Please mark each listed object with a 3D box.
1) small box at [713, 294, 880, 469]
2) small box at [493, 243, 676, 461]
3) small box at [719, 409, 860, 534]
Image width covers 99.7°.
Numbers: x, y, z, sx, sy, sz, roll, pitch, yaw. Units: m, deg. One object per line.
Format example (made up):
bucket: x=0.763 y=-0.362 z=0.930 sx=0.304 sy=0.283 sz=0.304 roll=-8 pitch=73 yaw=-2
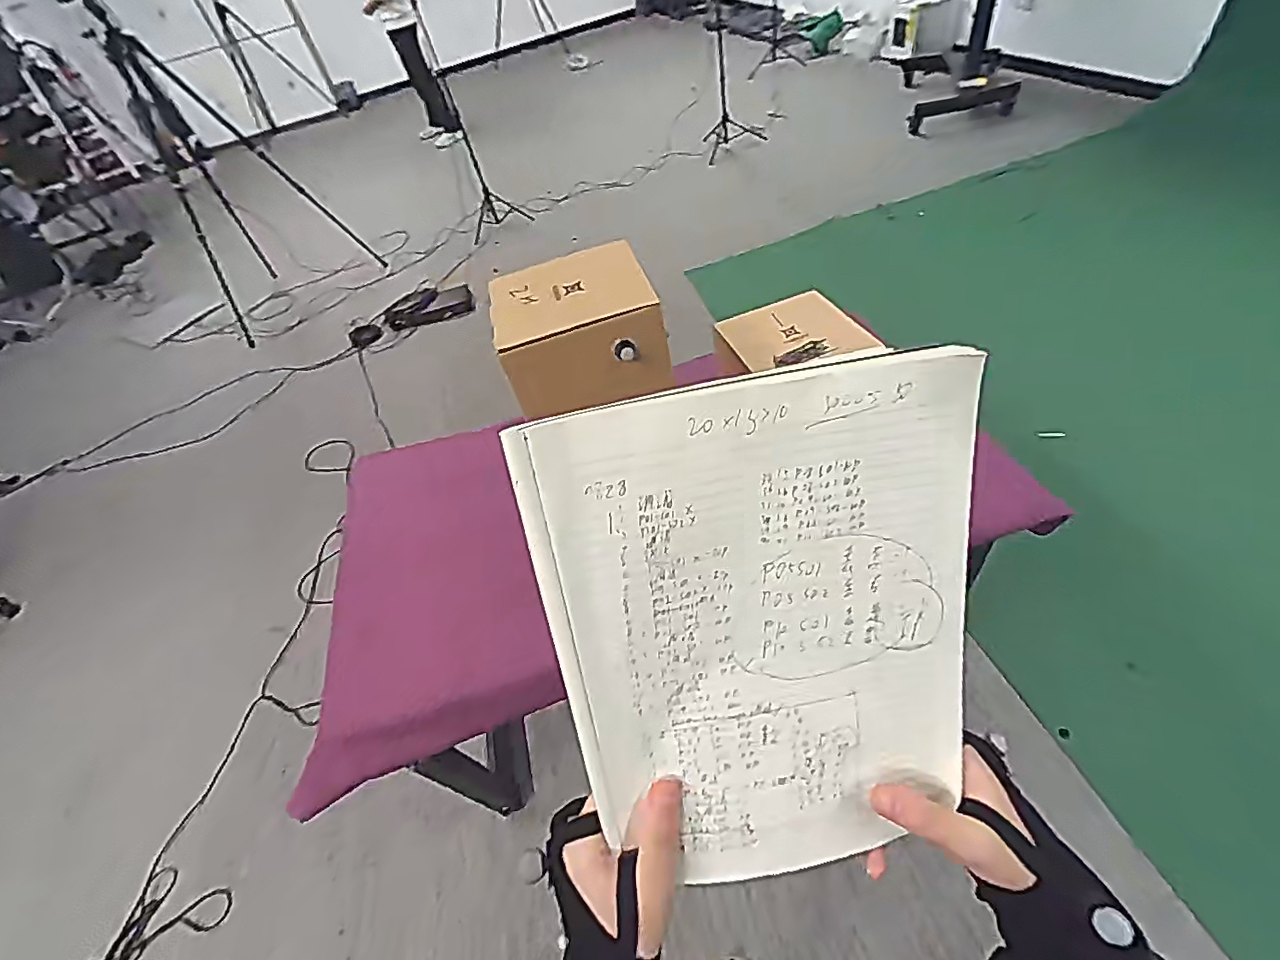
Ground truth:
small box: x=0.221 y=-0.137 z=0.791 sx=0.168 sy=0.176 sz=0.179 roll=-19 pitch=46 yaw=-4
small box: x=-0.061 y=-0.151 z=0.650 sx=0.179 sy=0.176 sz=0.168 roll=-18 pitch=46 yaw=-1
small box: x=0.246 y=-0.030 z=0.913 sx=0.168 sy=0.176 sz=0.179 roll=-18 pitch=46 yaw=-3
